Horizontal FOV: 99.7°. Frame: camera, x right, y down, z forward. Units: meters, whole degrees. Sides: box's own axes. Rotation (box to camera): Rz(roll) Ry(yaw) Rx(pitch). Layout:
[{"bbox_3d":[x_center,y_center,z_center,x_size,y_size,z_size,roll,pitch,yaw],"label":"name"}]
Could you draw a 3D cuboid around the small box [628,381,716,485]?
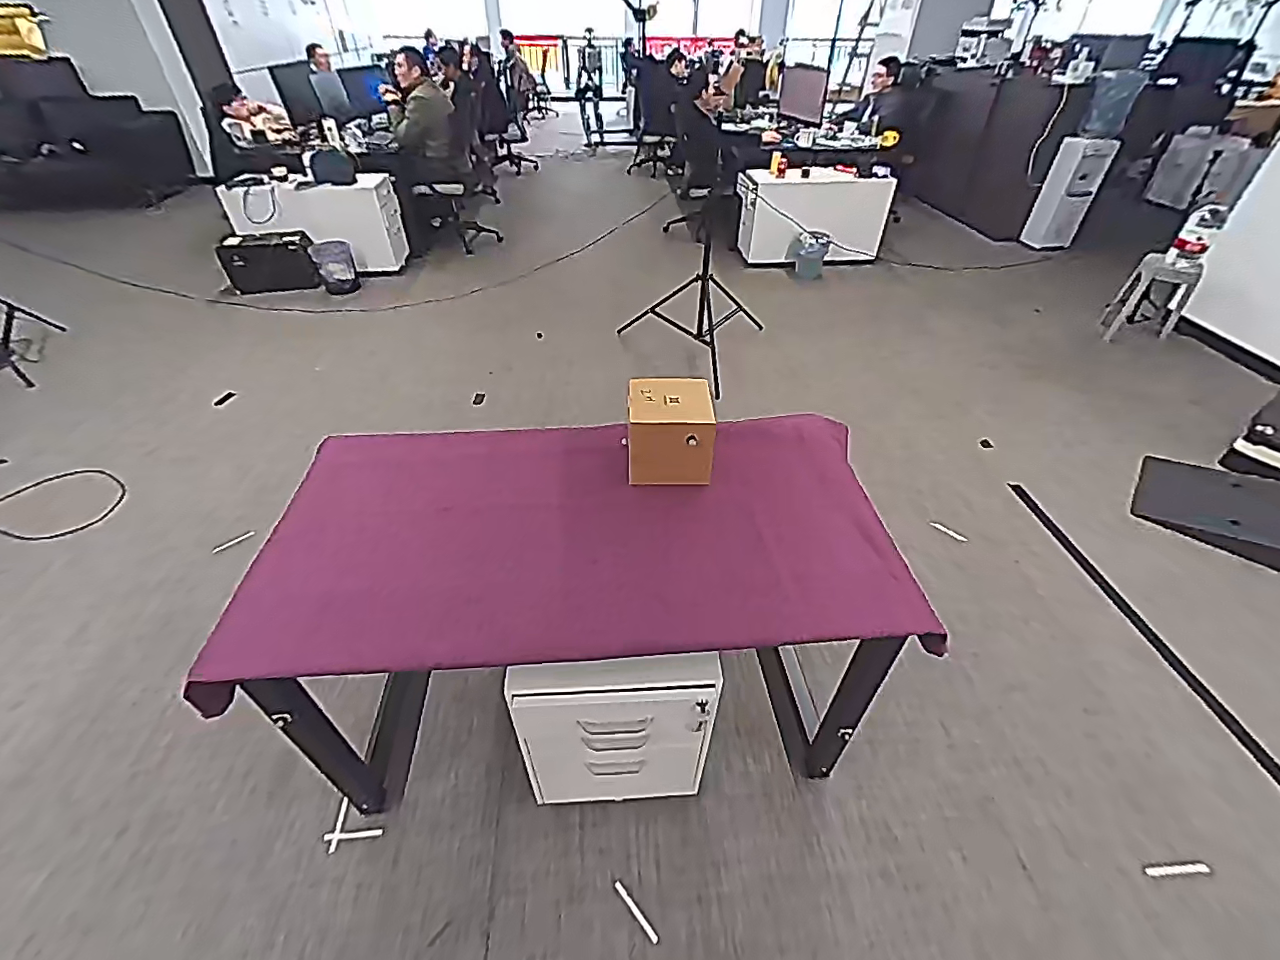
[{"bbox_3d":[0.064,-0.101,1.182,0.179,0.176,0.168,-1,41,-1],"label":"small box"}]
